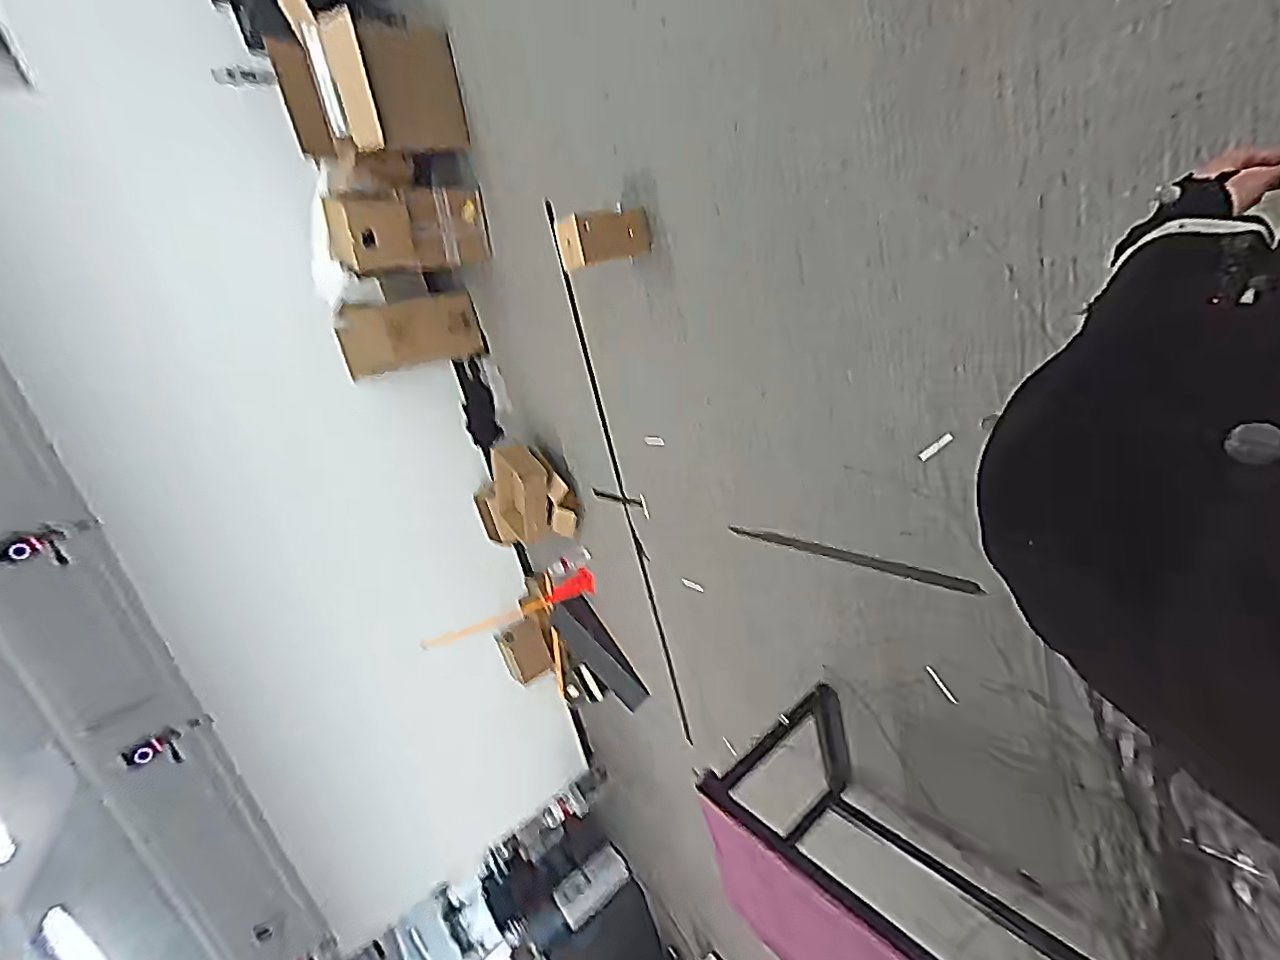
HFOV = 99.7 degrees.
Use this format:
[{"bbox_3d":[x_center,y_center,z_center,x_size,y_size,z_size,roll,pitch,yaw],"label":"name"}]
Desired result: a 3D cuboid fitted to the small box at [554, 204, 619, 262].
[{"bbox_3d":[-0.206,-0.960,2.099,0.168,0.176,0.179,17,125,52],"label":"small box"}]
